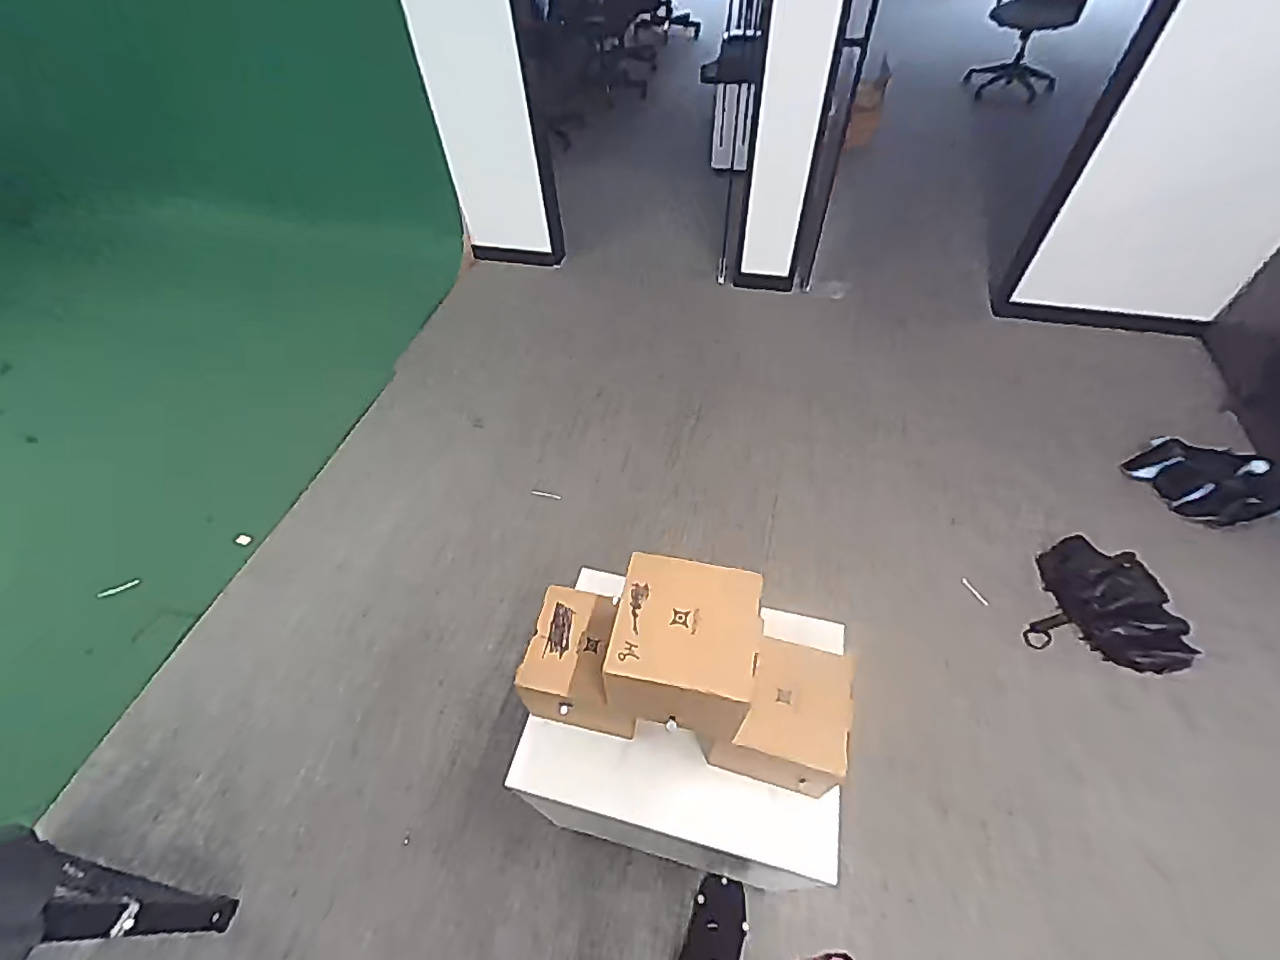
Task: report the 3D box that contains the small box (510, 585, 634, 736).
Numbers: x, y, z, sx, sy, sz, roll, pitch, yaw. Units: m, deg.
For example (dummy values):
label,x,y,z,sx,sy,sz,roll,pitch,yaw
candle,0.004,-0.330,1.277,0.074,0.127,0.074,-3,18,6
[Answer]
label,x,y,z,sx,sy,sz,roll,pitch,yaw
small box,-0.084,0.294,0.870,0.179,0.176,0.168,11,53,8

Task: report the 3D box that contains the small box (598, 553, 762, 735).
label,x,y,z,sx,sy,sz,roll,pitch,yaw
small box,0.053,0.222,0.717,0.179,0.176,0.168,10,52,8

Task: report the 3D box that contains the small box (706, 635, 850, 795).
label,x,y,z,sx,sy,sz,roll,pitch,yaw
small box,0.203,0.355,0.816,0.179,0.176,0.168,11,52,12
